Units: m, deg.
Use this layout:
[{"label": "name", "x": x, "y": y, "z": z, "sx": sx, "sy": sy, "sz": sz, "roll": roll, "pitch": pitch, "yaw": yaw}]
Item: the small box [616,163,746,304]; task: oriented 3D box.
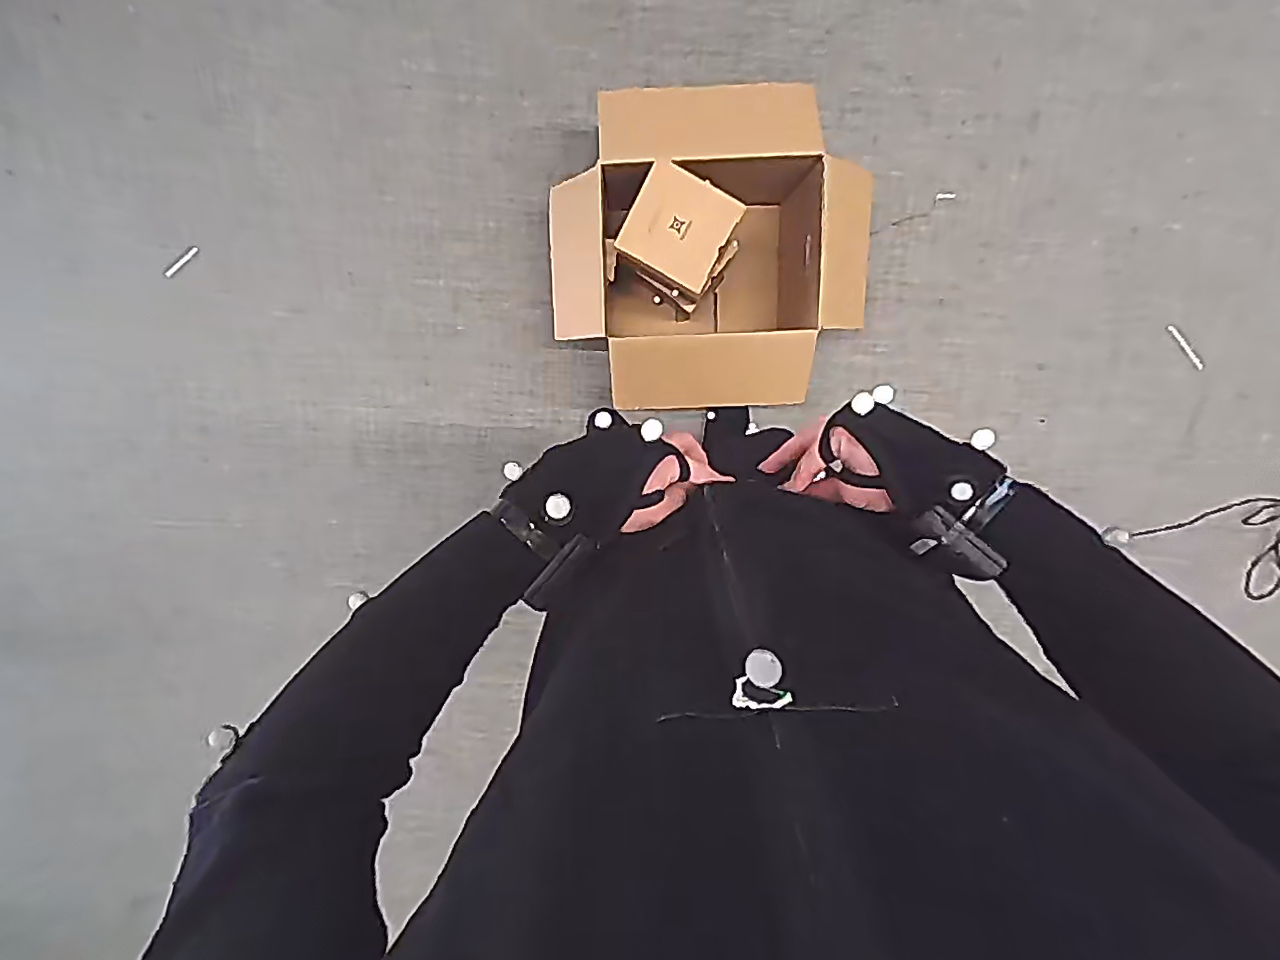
[{"label": "small box", "x": 0.077, "y": -0.450, "z": 1.019, "sx": 0.179, "sy": 0.176, "sz": 0.168, "roll": 30, "pitch": 102, "yaw": -1}]
